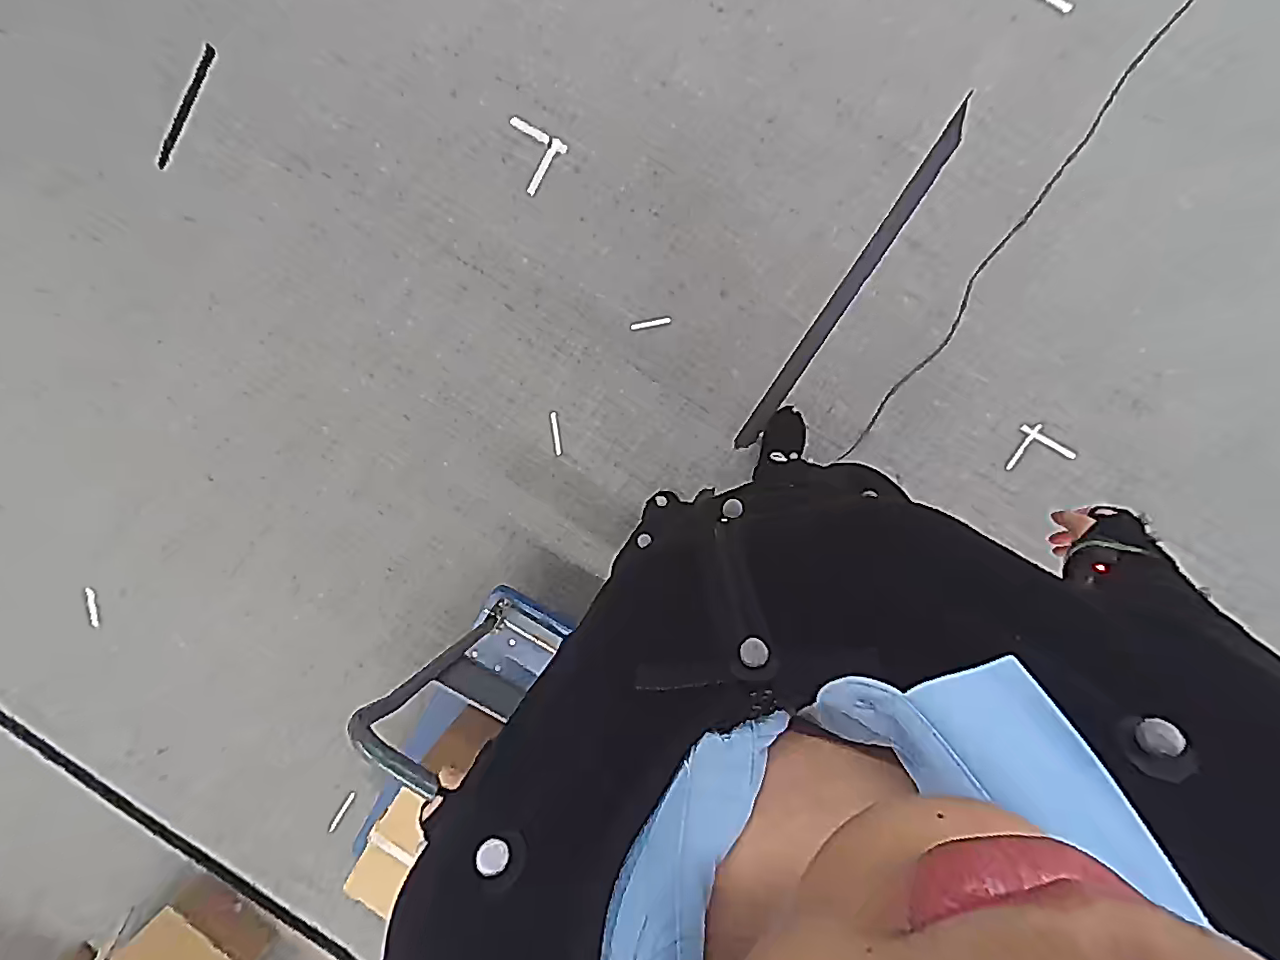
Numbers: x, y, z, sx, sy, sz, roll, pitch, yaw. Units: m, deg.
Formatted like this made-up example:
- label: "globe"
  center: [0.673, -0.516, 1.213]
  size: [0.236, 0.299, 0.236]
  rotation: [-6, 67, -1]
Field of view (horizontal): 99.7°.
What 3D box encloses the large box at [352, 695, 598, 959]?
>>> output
- label: "large box"
  center: [-0.360, 0.795, 1.279]
  size: [0.408, 0.320, 0.320]
  rotation: [31, 97, 1]
